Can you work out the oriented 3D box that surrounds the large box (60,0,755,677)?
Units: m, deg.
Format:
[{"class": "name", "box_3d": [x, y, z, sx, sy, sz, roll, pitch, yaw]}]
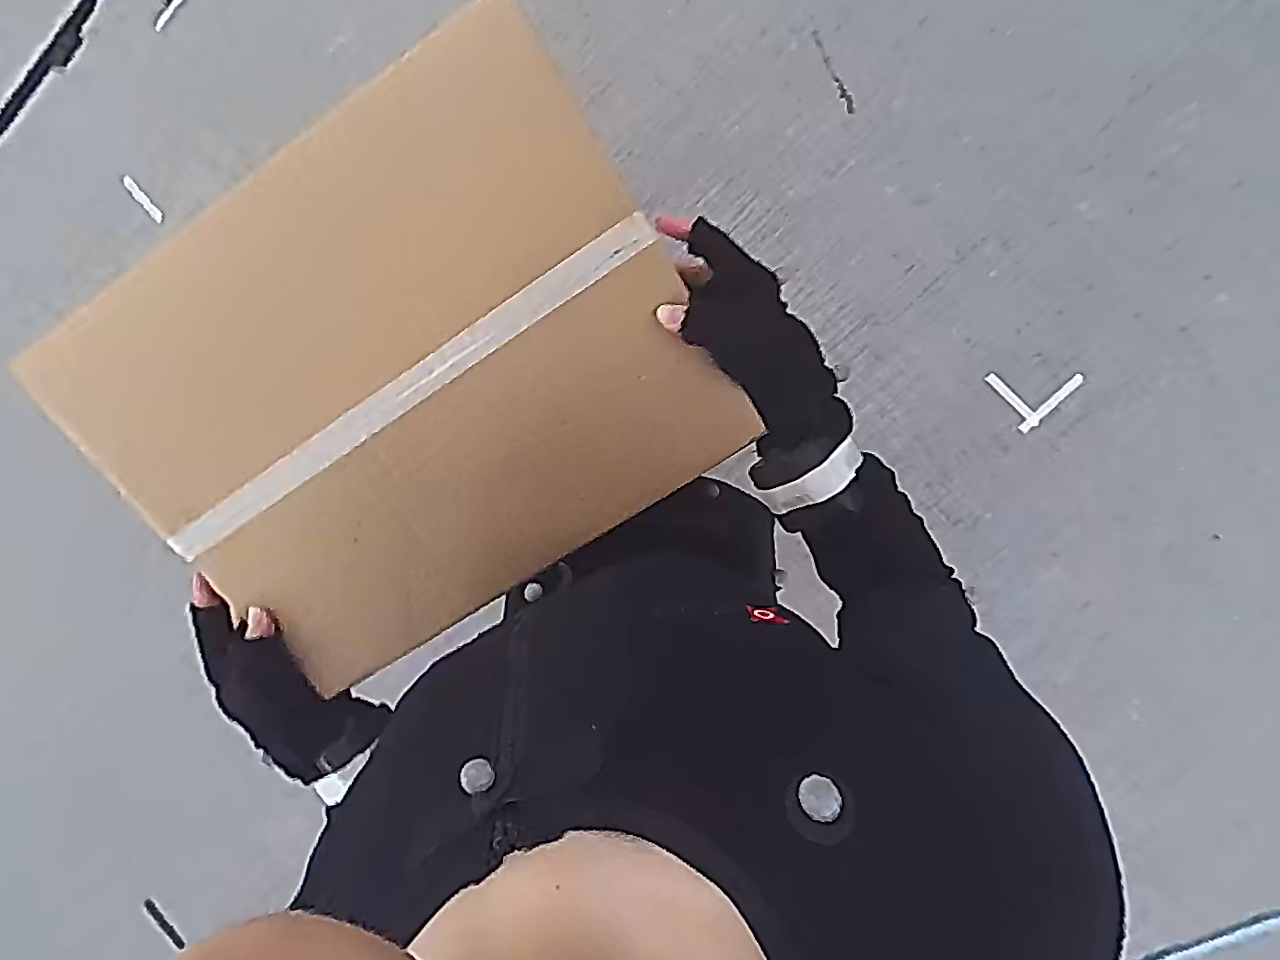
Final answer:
[{"class": "large box", "box_3d": [-0.163, -0.101, 0.526, 0.408, 0.320, 0.320, -32, 104, 8]}]
